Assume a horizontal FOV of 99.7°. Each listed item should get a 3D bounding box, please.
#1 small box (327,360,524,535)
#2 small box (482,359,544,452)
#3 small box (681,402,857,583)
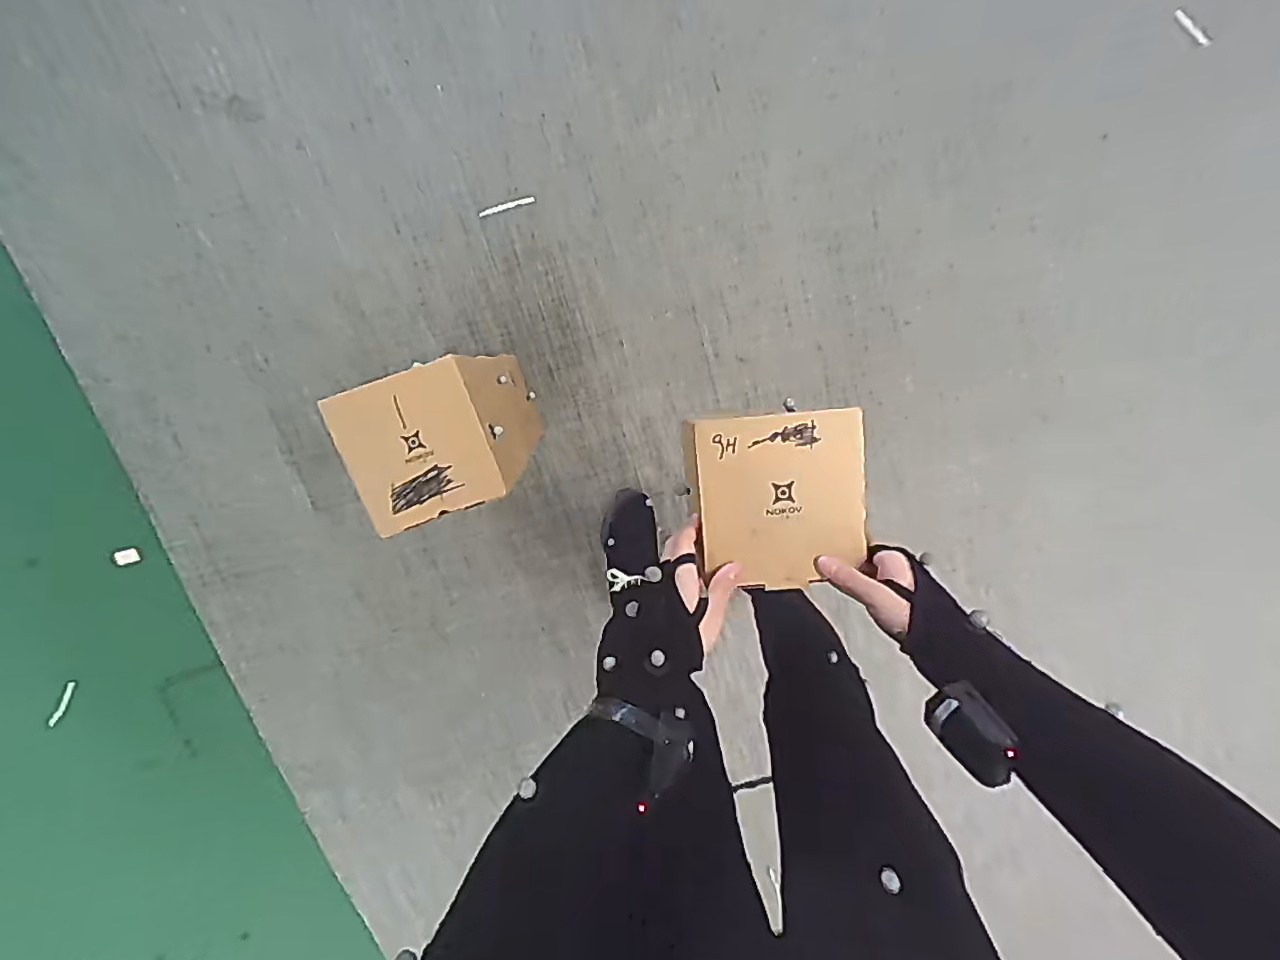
[{"bbox_3d":[-0.266,-0.052,0.721,0.168,0.176,0.179,-19,101,-1],"label":"small box"},{"bbox_3d":[-0.296,-0.126,1.040,0.179,0.176,0.168,-18,102,-2],"label":"small box"},{"bbox_3d":[0.141,0.005,0.634,0.168,0.176,0.179,-6,99,1],"label":"small box"}]
